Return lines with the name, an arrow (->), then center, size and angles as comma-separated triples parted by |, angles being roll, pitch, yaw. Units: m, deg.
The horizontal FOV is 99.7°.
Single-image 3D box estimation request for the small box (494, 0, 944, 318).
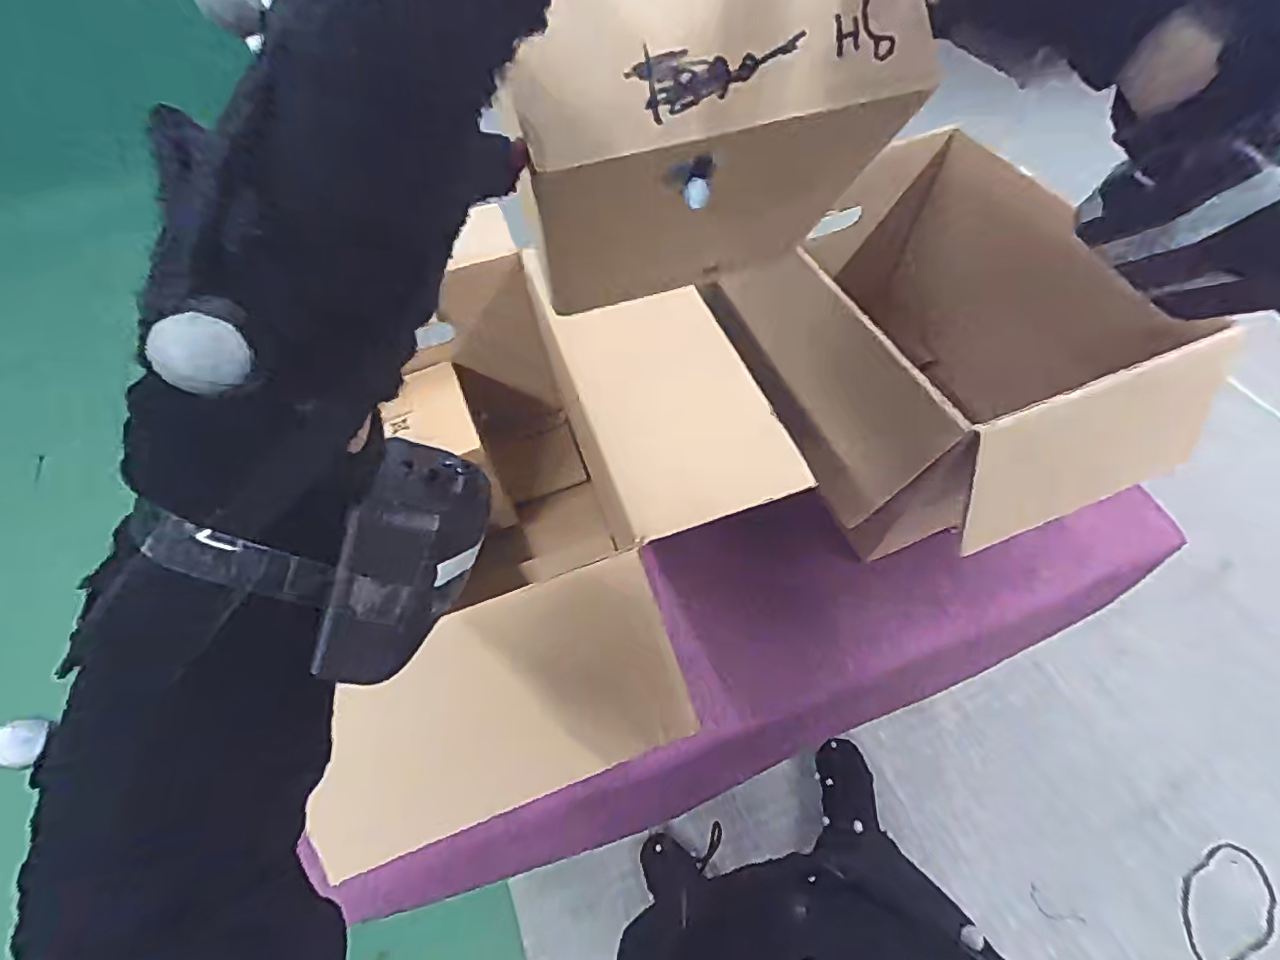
small box -> 0.018, -0.214, 0.295 | 0.168, 0.176, 0.179 | -16, 89, -5
